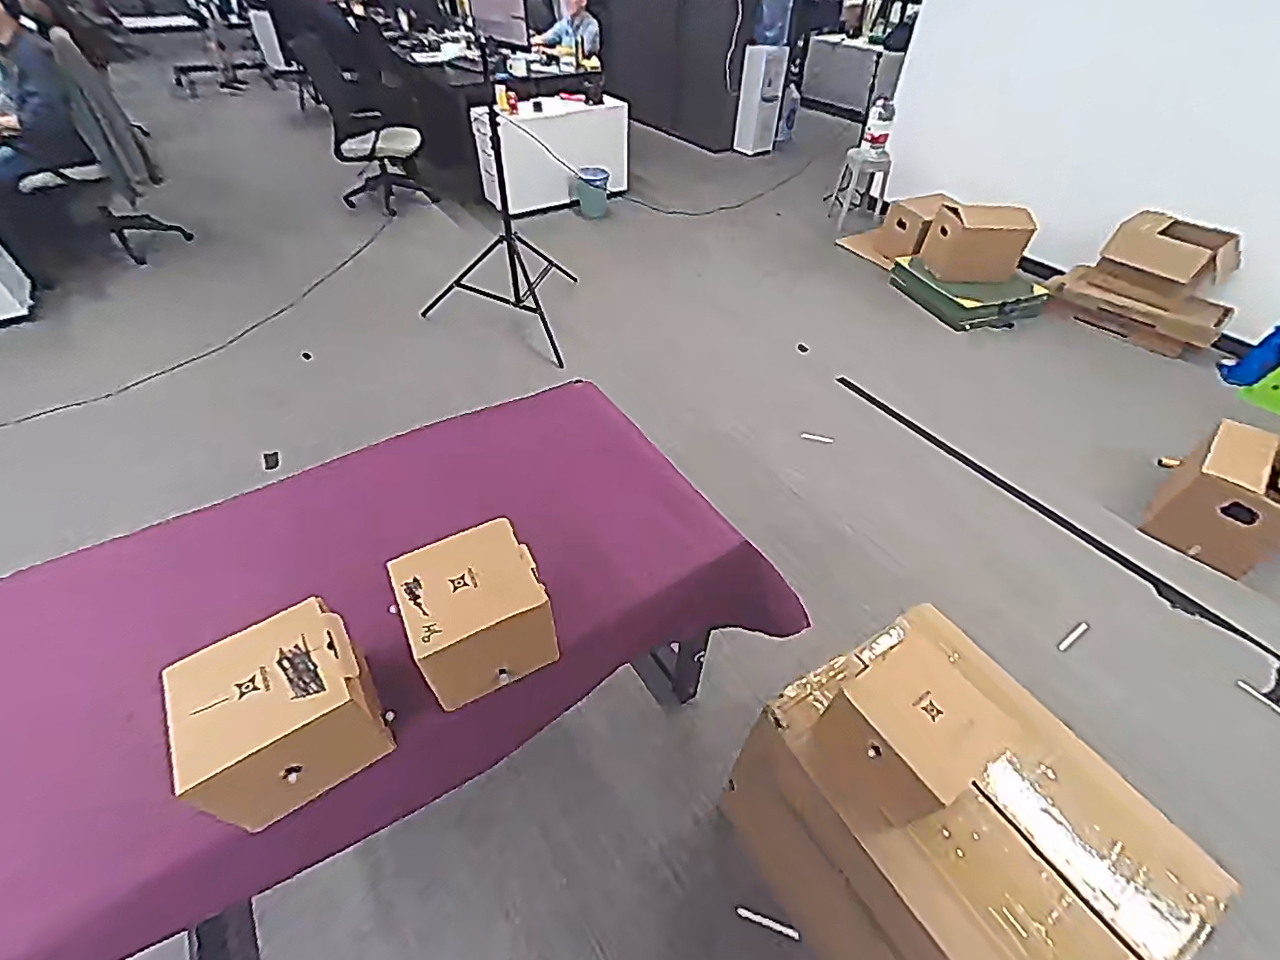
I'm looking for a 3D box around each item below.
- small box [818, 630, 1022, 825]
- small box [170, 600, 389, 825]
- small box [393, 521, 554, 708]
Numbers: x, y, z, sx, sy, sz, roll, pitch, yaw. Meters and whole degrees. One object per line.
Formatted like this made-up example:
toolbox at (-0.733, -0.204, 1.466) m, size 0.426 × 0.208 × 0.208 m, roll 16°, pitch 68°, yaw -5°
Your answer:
small box at (0.391, 0.362, 0.790) m, size 0.168 × 0.176 × 0.179 m, roll -27°, pitch 54°, yaw -21°
small box at (-0.441, 0.292, 0.685) m, size 0.179 × 0.176 × 0.168 m, roll -26°, pitch 51°, yaw -24°
small box at (-0.234, 0.195, 0.789) m, size 0.179 × 0.176 × 0.168 m, roll -21°, pitch 49°, yaw -21°
